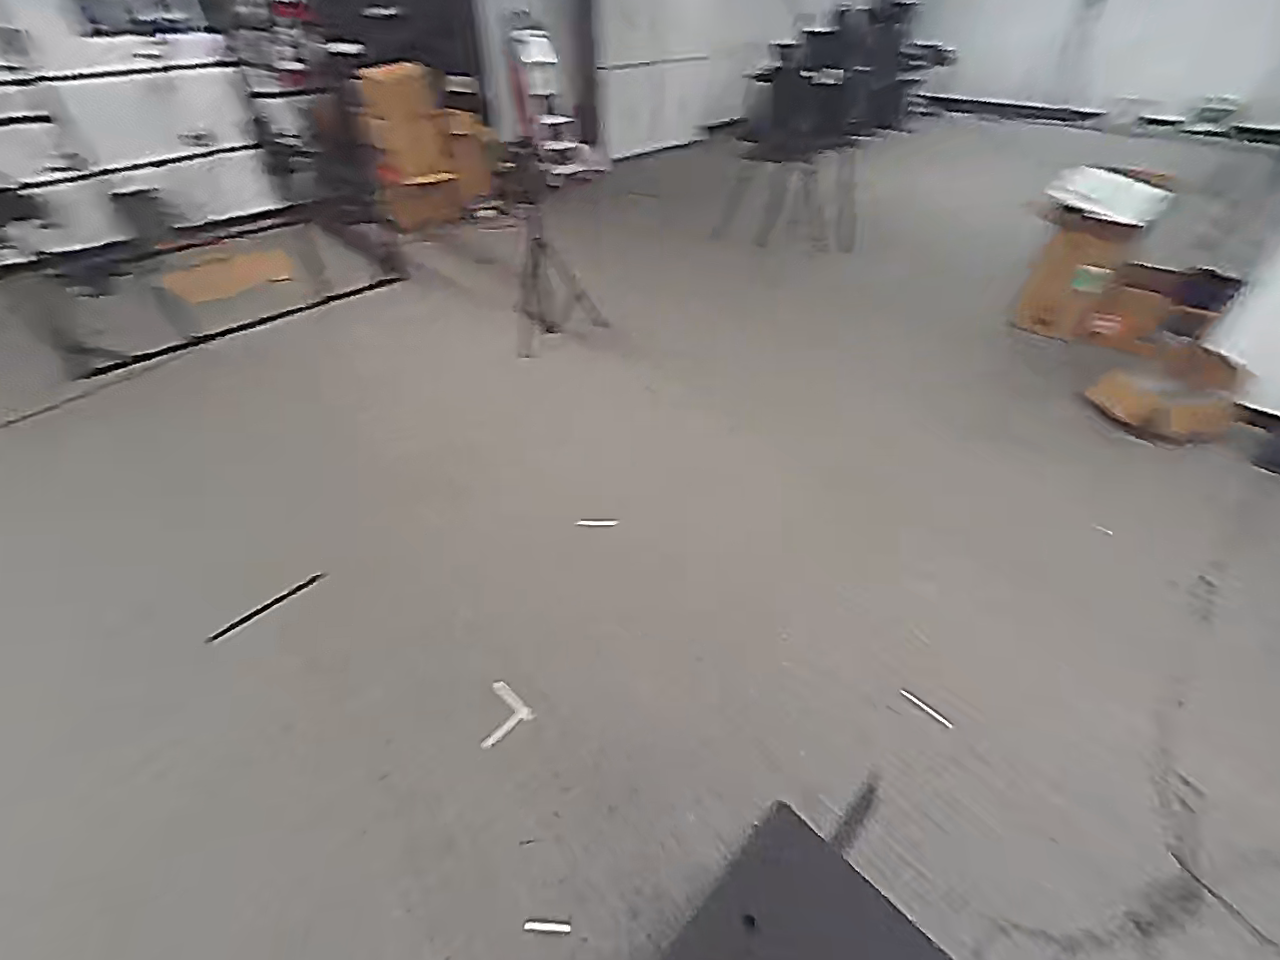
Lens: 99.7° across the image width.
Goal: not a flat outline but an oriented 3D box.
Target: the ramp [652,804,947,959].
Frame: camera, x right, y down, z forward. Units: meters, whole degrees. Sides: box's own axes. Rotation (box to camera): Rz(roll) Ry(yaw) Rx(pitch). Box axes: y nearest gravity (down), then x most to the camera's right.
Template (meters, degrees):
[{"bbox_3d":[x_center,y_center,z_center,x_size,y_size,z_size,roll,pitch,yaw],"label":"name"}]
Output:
[{"bbox_3d":[0.189,1.161,1.041,0.509,0.206,0.991,31,51,32],"label":"ramp"}]
